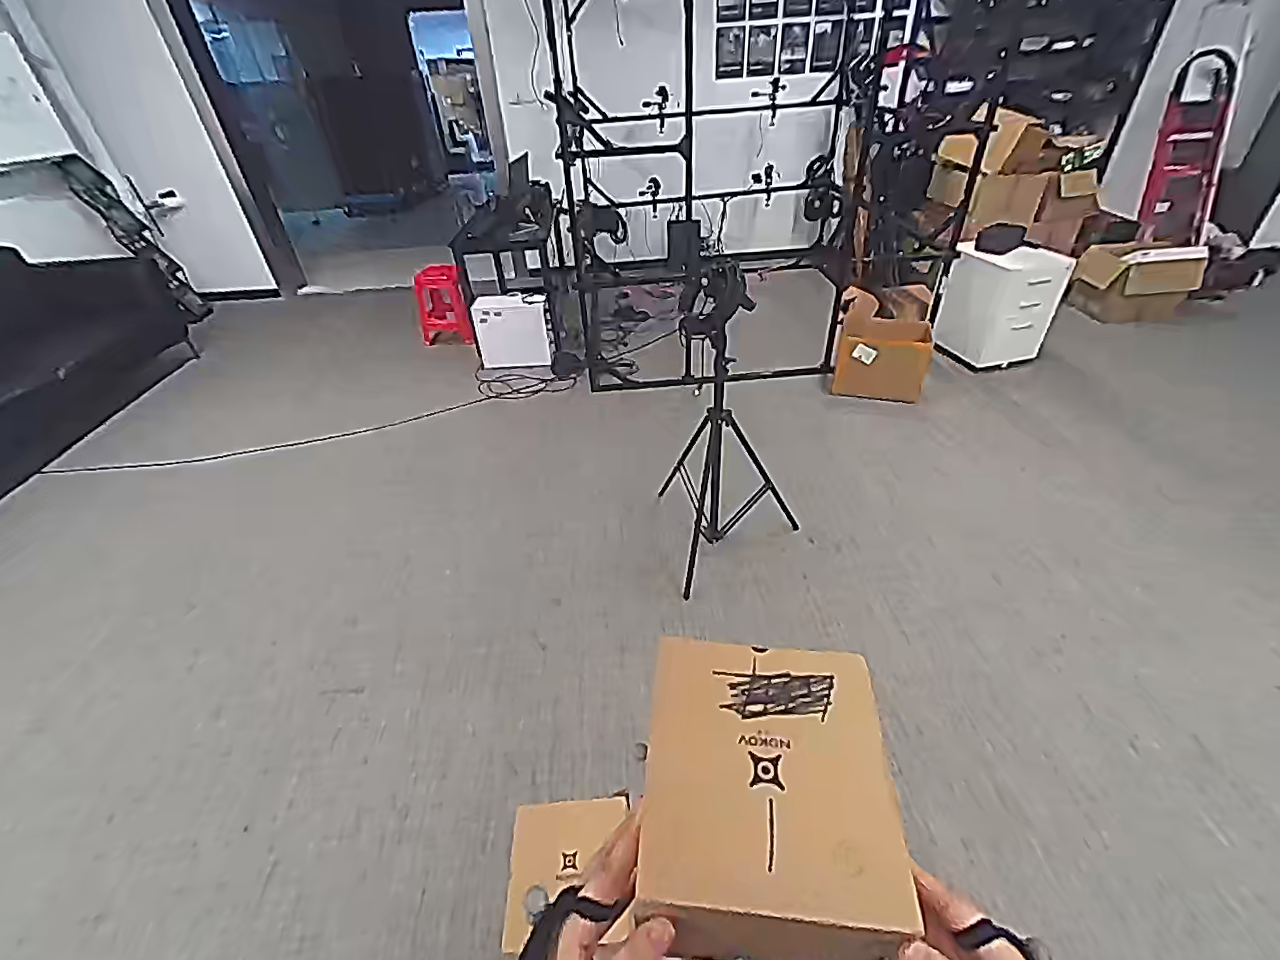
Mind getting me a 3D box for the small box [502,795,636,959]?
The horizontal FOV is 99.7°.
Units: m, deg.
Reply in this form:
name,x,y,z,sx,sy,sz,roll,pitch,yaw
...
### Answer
name,x,y,z,sx,sy,sz,roll,pitch,yaw
small box,-0.095,0.602,0.806,0.168,0.176,0.179,-6,39,1
